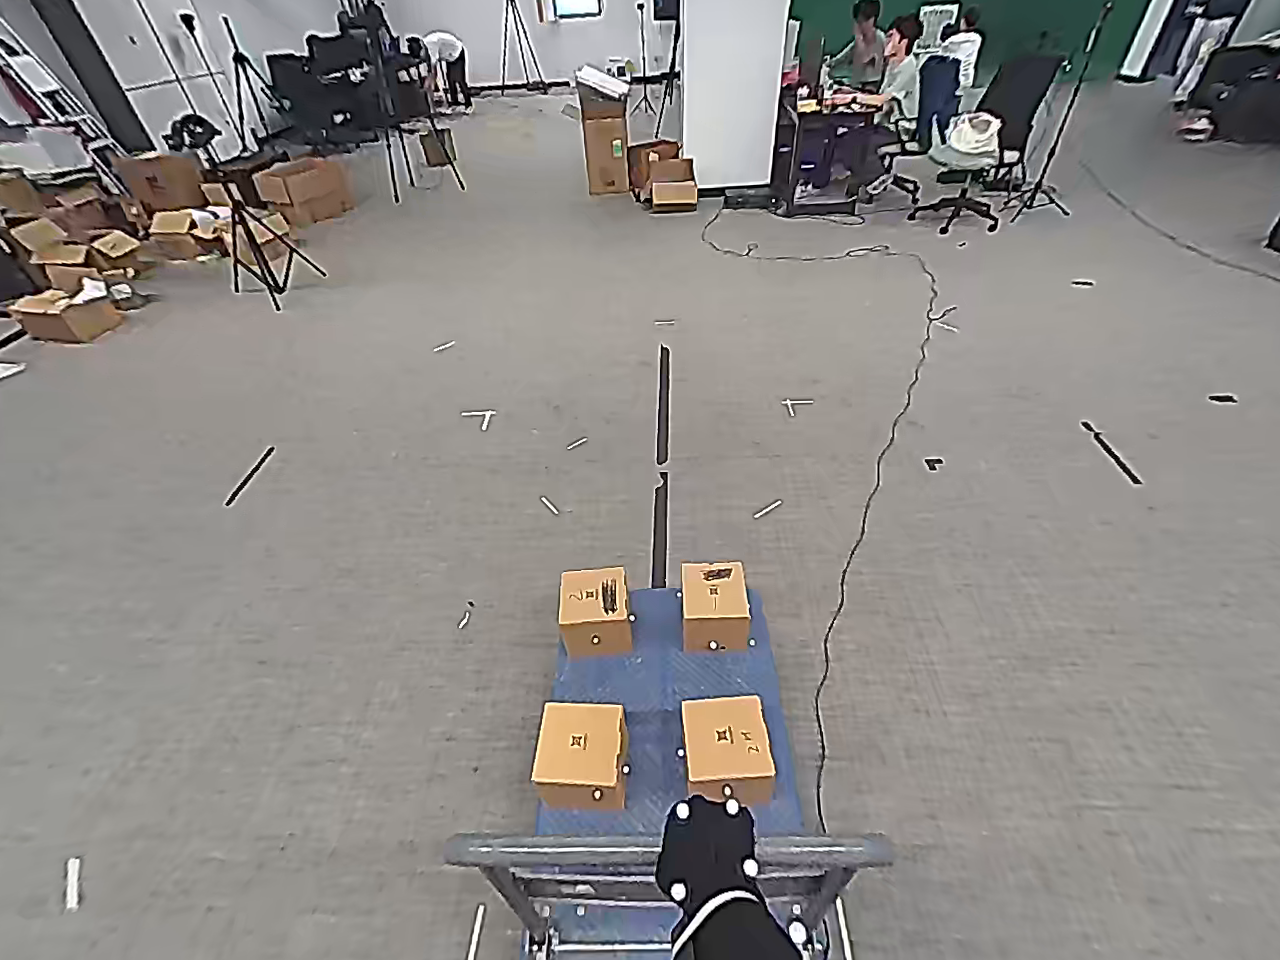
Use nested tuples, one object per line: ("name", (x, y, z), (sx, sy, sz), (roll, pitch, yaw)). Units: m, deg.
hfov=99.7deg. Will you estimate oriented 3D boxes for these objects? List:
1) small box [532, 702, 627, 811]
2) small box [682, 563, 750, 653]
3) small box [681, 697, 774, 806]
("small box", (-0.125, 0.612, 1.194), (0.179, 0.176, 0.168), (1, 42, 3))
("small box", (0.198, 0.345, 1.459), (0.168, 0.176, 0.179), (-2, 44, 3))
("small box", (0.185, 0.597, 1.184), (0.179, 0.176, 0.168), (-4, 43, 1))
